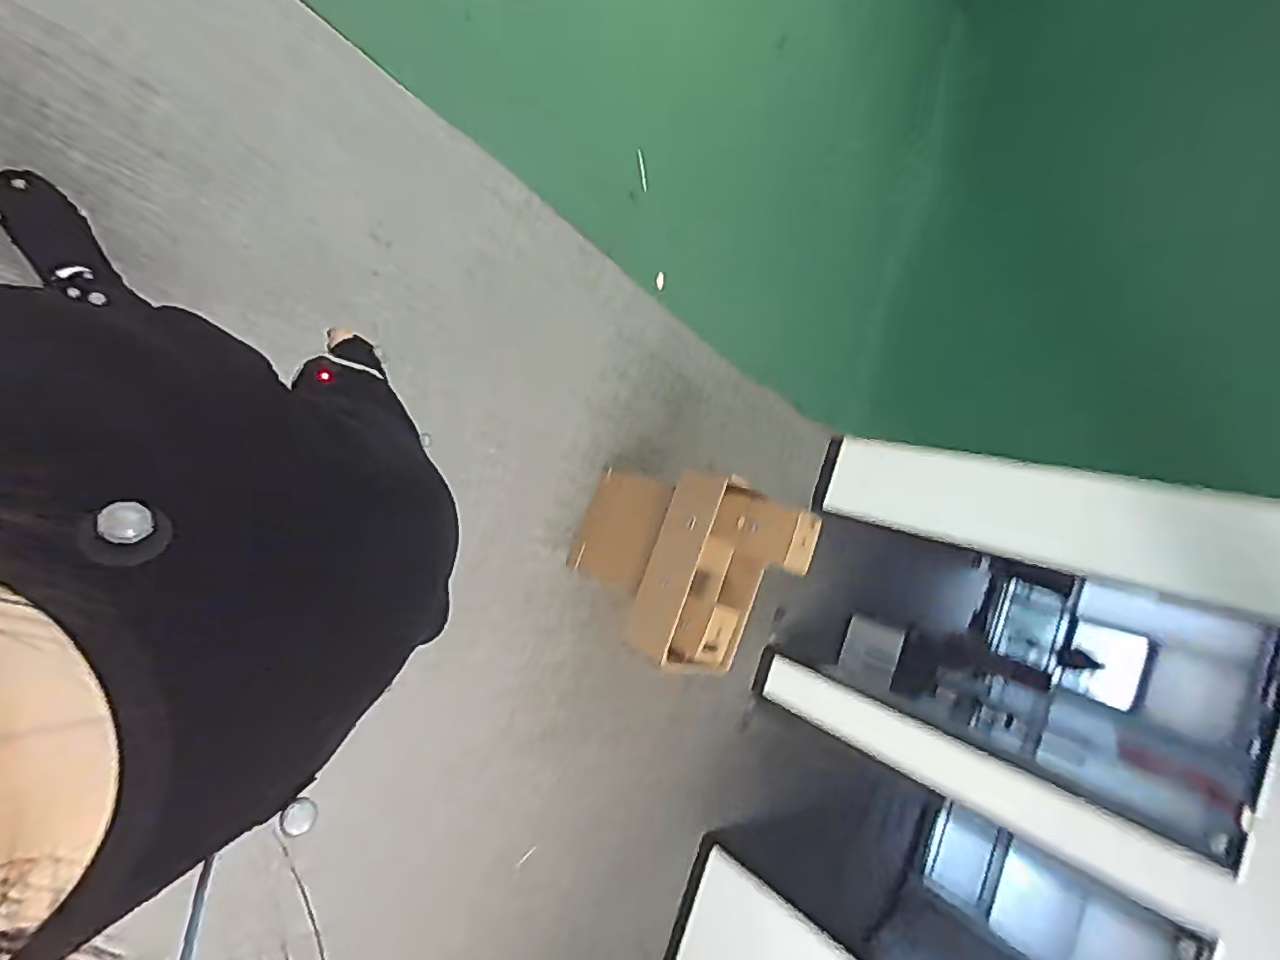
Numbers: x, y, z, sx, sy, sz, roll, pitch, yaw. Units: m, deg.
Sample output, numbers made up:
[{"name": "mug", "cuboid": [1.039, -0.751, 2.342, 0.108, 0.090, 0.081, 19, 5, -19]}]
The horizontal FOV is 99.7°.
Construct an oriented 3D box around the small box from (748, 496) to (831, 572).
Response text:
[{"name": "small box", "cuboid": [0.457, 0.166, 1.673, 0.168, 0.176, 0.179, 22, 86, -46]}]
